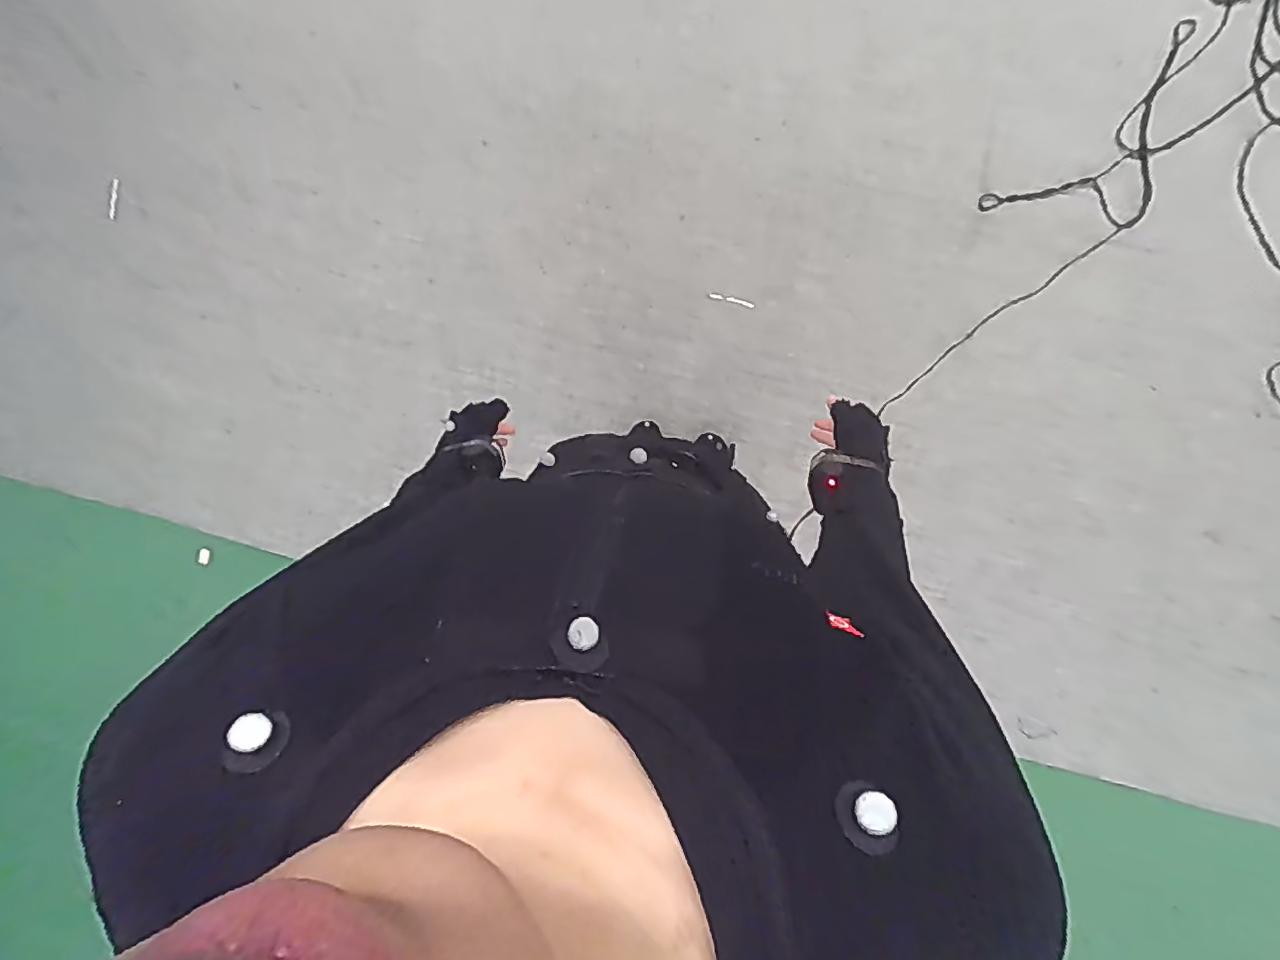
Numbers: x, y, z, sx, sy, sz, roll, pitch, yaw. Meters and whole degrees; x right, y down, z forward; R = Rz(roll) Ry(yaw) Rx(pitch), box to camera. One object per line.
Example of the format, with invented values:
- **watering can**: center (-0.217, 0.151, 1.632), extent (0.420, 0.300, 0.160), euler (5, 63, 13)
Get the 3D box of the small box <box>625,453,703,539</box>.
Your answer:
- **small box**: center (0.056, 0.037, 1.422), extent (0.168, 0.176, 0.179), euler (11, 99, -7)
